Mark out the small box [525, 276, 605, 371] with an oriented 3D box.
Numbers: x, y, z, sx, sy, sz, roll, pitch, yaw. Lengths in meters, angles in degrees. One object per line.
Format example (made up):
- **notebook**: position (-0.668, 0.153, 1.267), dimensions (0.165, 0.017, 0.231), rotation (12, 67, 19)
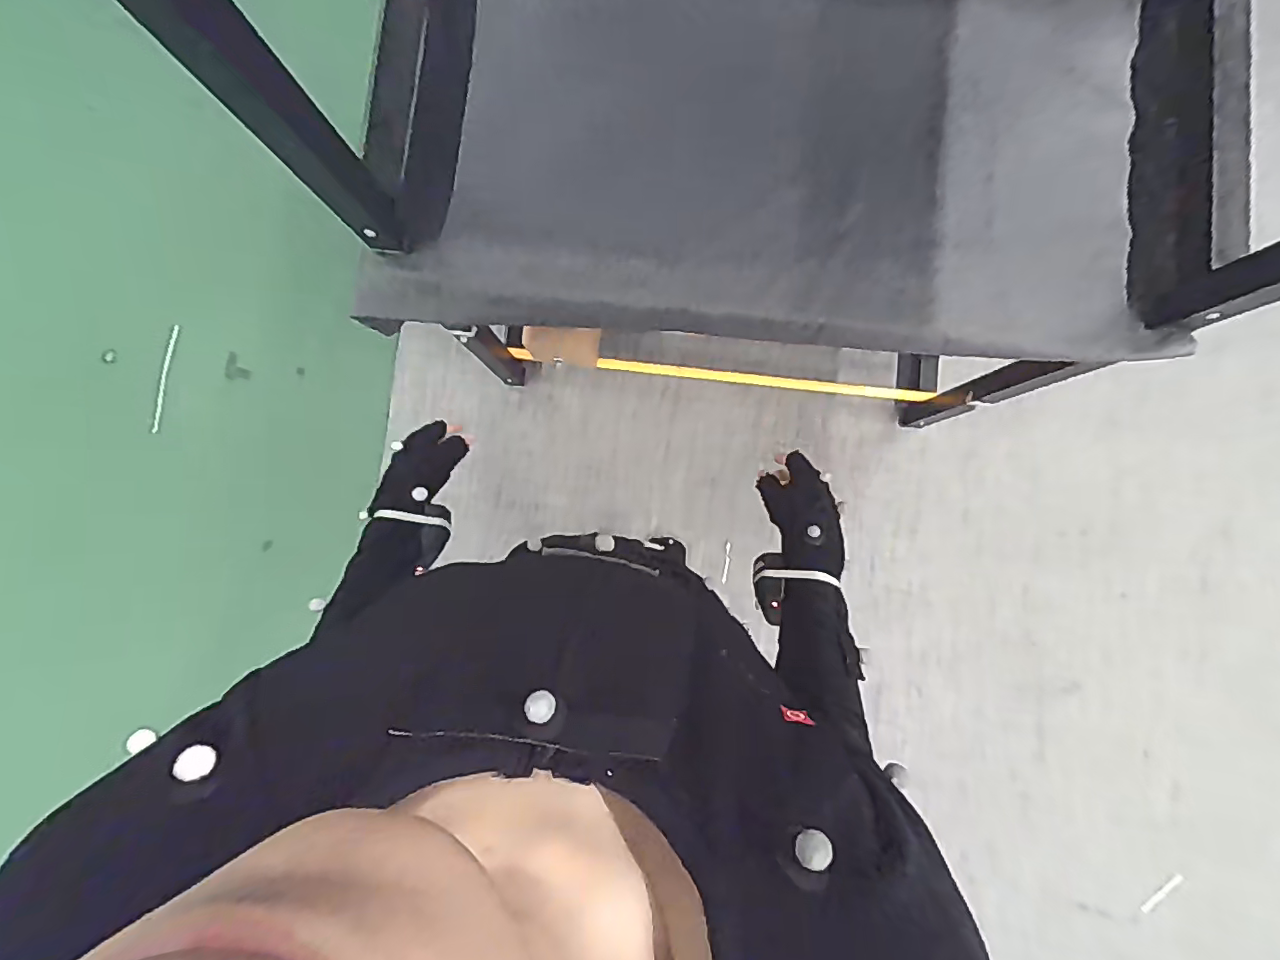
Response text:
- **small box**: position (-0.181, -0.386, 1.355), dimensions (0.168, 0.176, 0.179), rotation (6, 87, 2)
